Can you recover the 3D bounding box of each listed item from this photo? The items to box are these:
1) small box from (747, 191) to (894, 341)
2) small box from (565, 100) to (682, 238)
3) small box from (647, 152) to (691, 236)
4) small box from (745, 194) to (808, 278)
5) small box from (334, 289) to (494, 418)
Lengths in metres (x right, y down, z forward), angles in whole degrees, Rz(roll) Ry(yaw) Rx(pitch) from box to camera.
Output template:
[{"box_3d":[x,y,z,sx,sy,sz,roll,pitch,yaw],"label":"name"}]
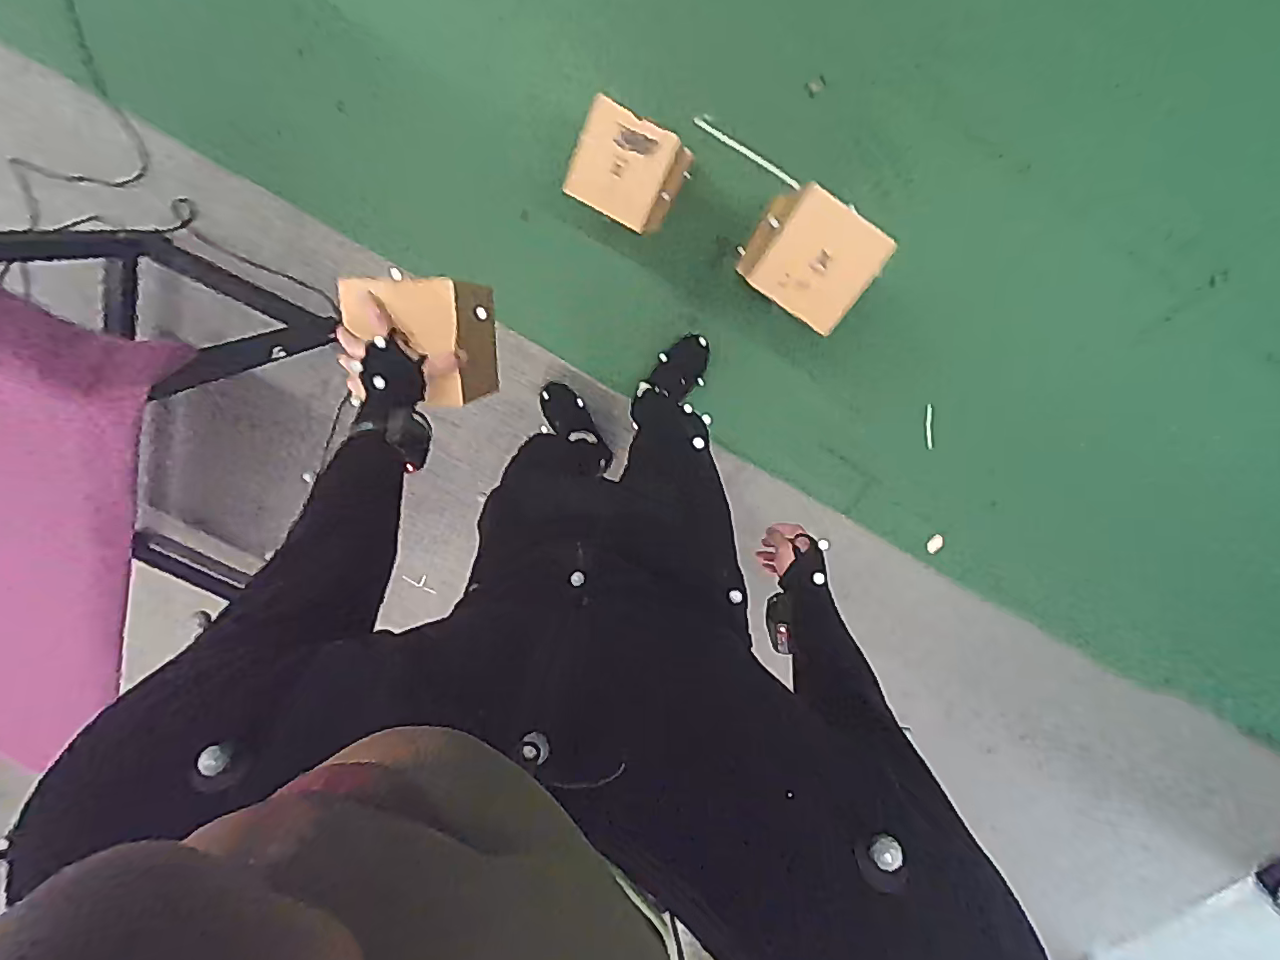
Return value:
[{"box_3d":[0.300,-0.376,0.949,0.168,0.176,0.179,32,116,-8],"label":"small box"},{"box_3d":[-0.026,-0.605,1.075,0.168,0.176,0.179,28,116,-4],"label":"small box"},{"box_3d":[0.006,-0.674,1.221,0.168,0.176,0.179,30,114,-5],"label":"small box"},{"box_3d":[0.325,-0.447,1.096,0.168,0.176,0.179,32,115,-7],"label":"small box"},{"box_3d":[-0.335,-0.196,0.835,0.168,0.176,0.179,1,106,4],"label":"small box"}]
